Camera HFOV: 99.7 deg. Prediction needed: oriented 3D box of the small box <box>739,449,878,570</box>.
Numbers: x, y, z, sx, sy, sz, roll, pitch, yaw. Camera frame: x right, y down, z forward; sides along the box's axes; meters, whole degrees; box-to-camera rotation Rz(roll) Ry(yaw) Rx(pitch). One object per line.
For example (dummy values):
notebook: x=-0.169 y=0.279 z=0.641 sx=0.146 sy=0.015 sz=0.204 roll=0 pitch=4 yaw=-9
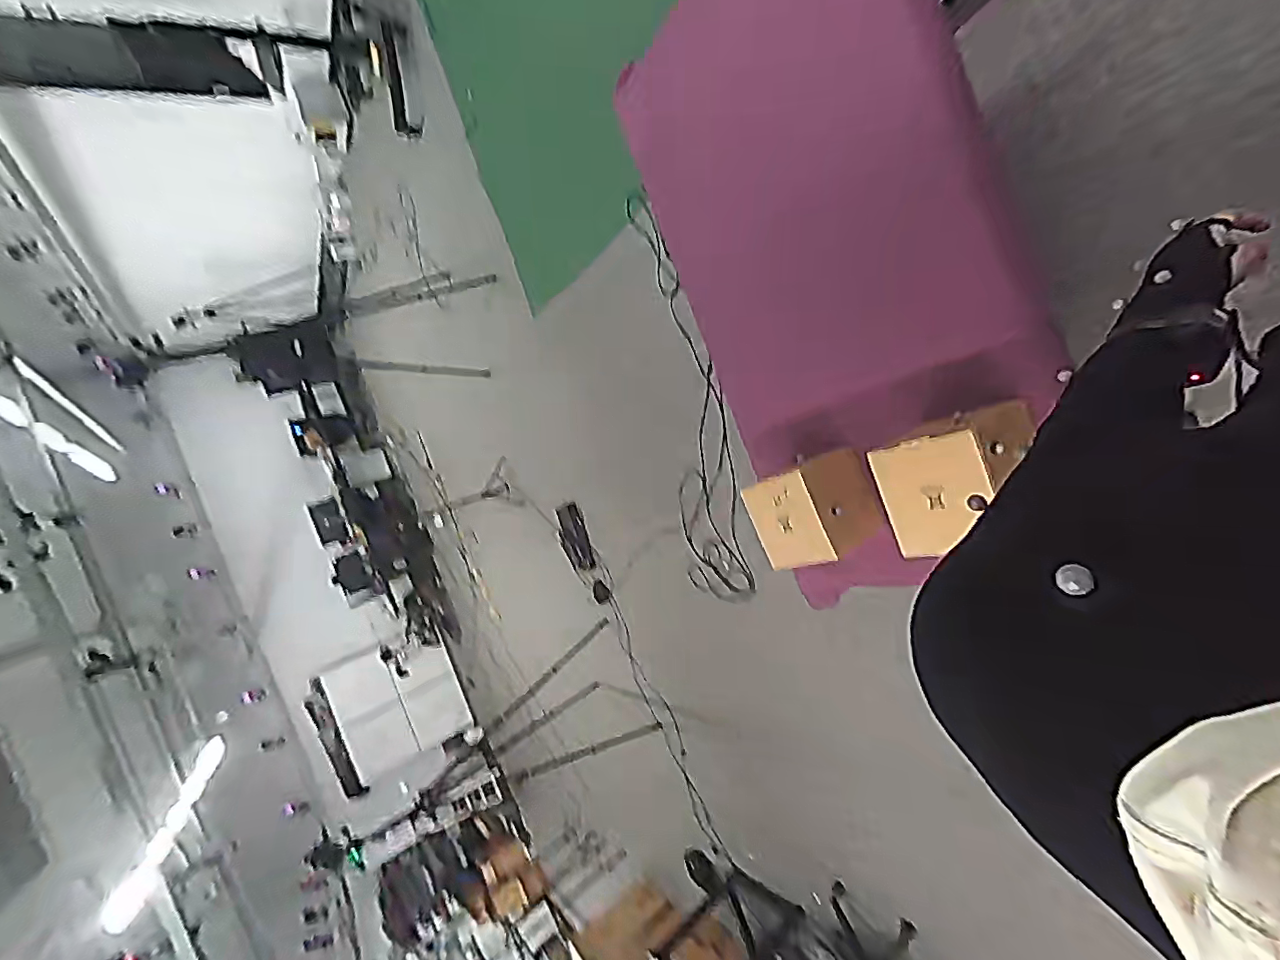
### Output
small box: x=0.334 y=0.058 z=1.066 sx=0.168 sy=0.176 sz=0.179 roll=-25 pitch=87 yaw=55

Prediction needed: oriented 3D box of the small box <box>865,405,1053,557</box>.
small box: x=0.487 y=0.003 z=0.824 sx=0.168 sy=0.176 sz=0.179 roll=-19 pitch=91 yaw=58
